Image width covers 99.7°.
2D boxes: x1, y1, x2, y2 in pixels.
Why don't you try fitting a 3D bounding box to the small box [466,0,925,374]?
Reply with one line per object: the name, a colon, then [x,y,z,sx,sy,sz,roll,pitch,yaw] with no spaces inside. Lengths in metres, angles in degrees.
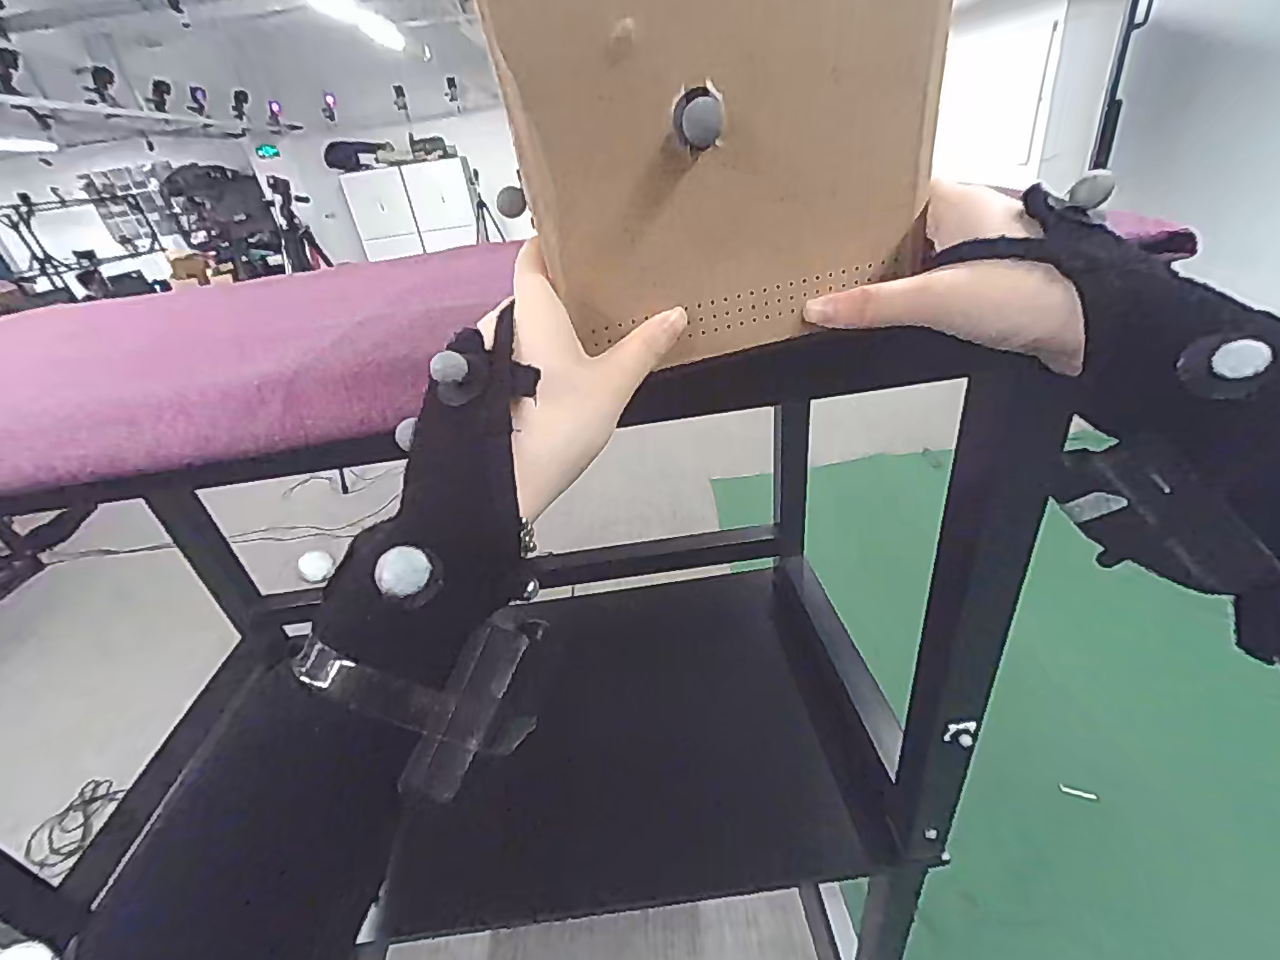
small box: [0.026,-0.173,0.283,0.179,0.176,0.168,-15,36,-2]
